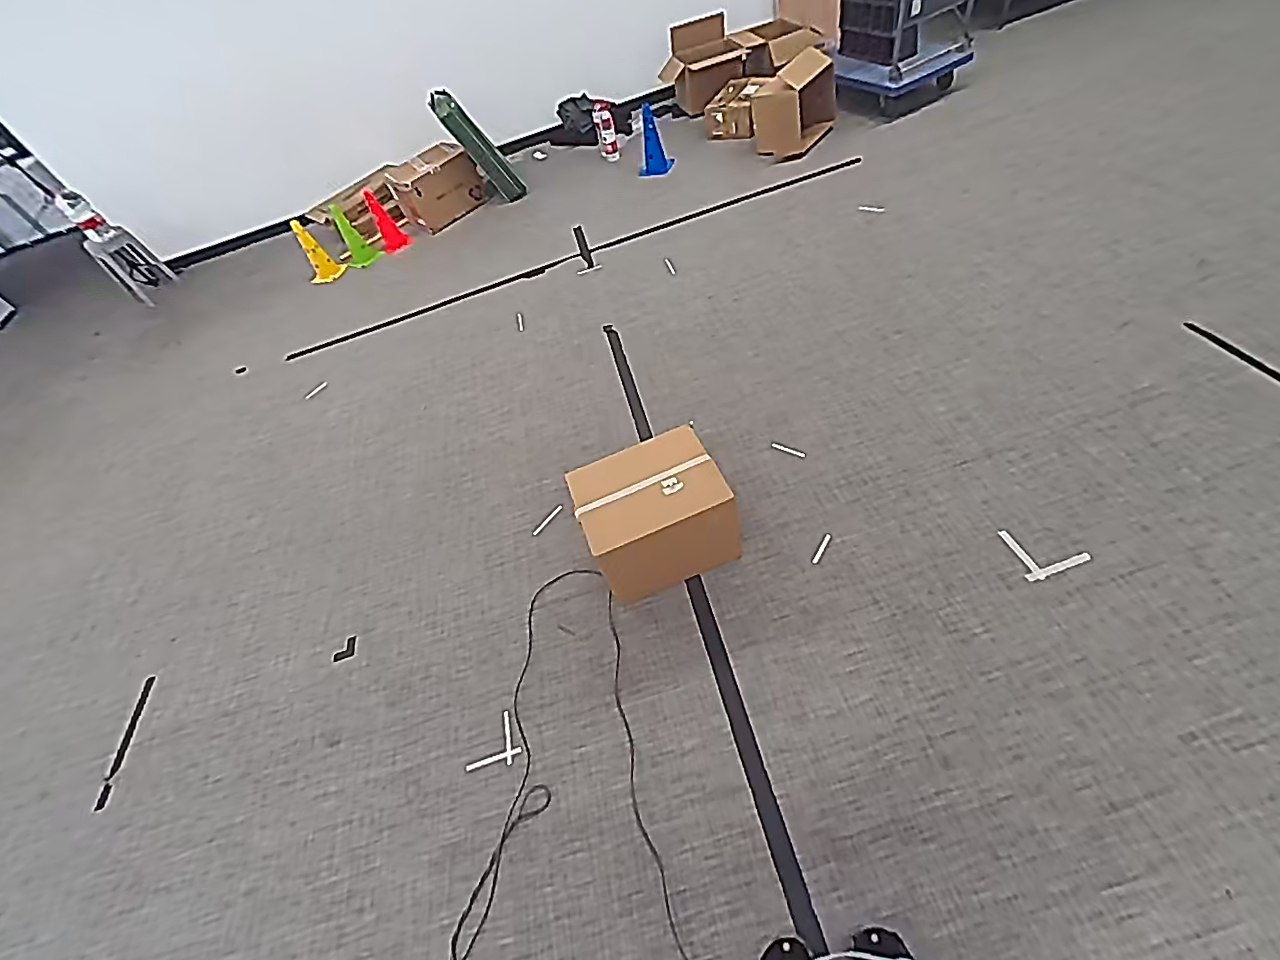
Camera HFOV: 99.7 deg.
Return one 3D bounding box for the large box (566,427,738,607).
[{"bbox_3d":[0.041,0.114,1.613,0.408,0.320,0.320,-22,51,-4],"label":"large box"}]
